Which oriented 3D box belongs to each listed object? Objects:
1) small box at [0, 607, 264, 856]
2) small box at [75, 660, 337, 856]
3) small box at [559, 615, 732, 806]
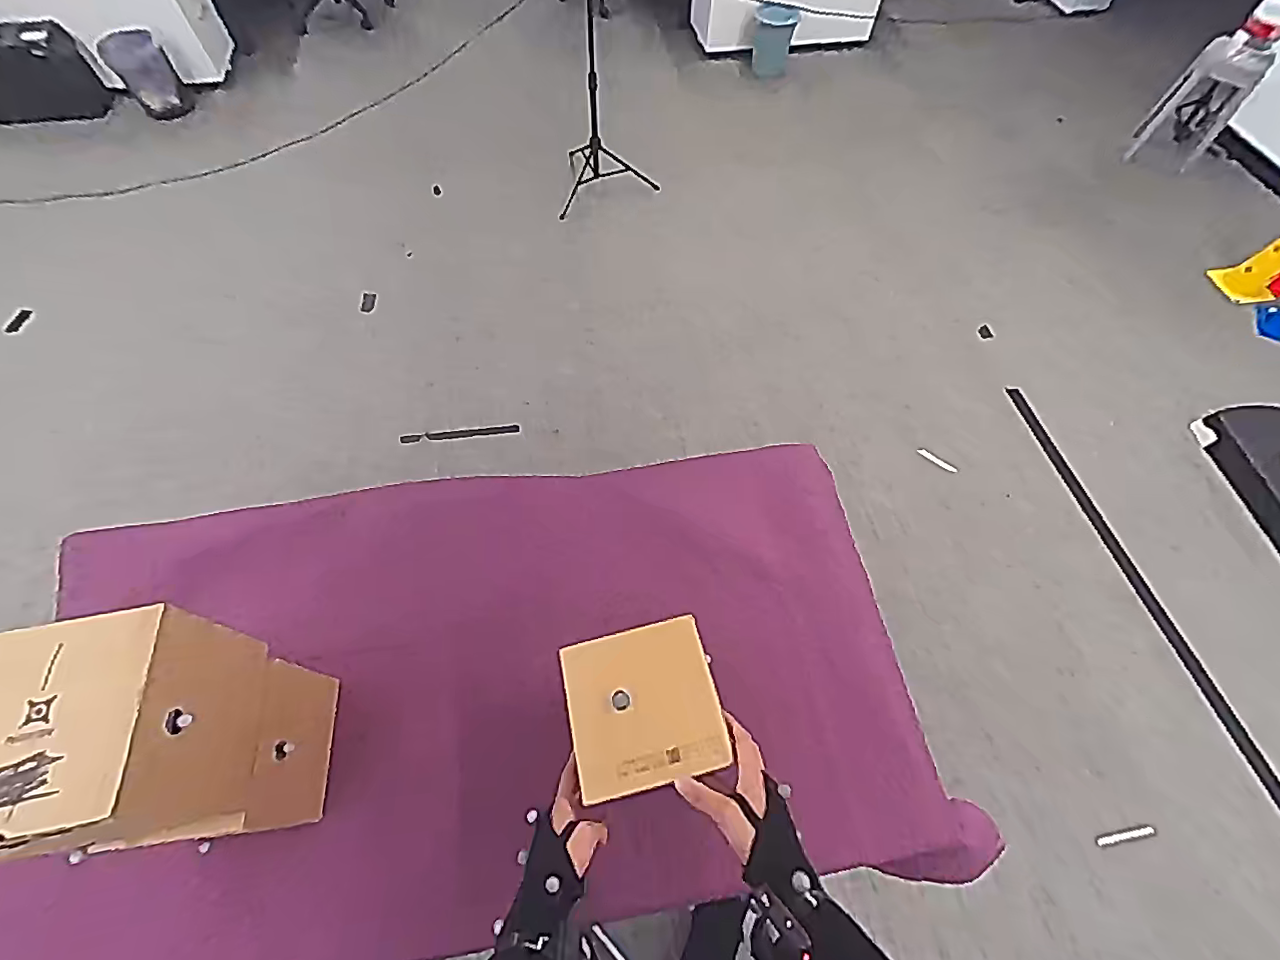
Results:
[{"bbox_3d":[-0.498,0.241,0.516,0.168,0.176,0.179,-9,61,-7],"label":"small box"},{"bbox_3d":[-0.496,0.331,0.654,0.168,0.176,0.179,-5,61,-5],"label":"small box"},{"bbox_3d":[0.010,0.292,0.673,0.168,0.179,0.176,-15,59,-2],"label":"small box"}]
